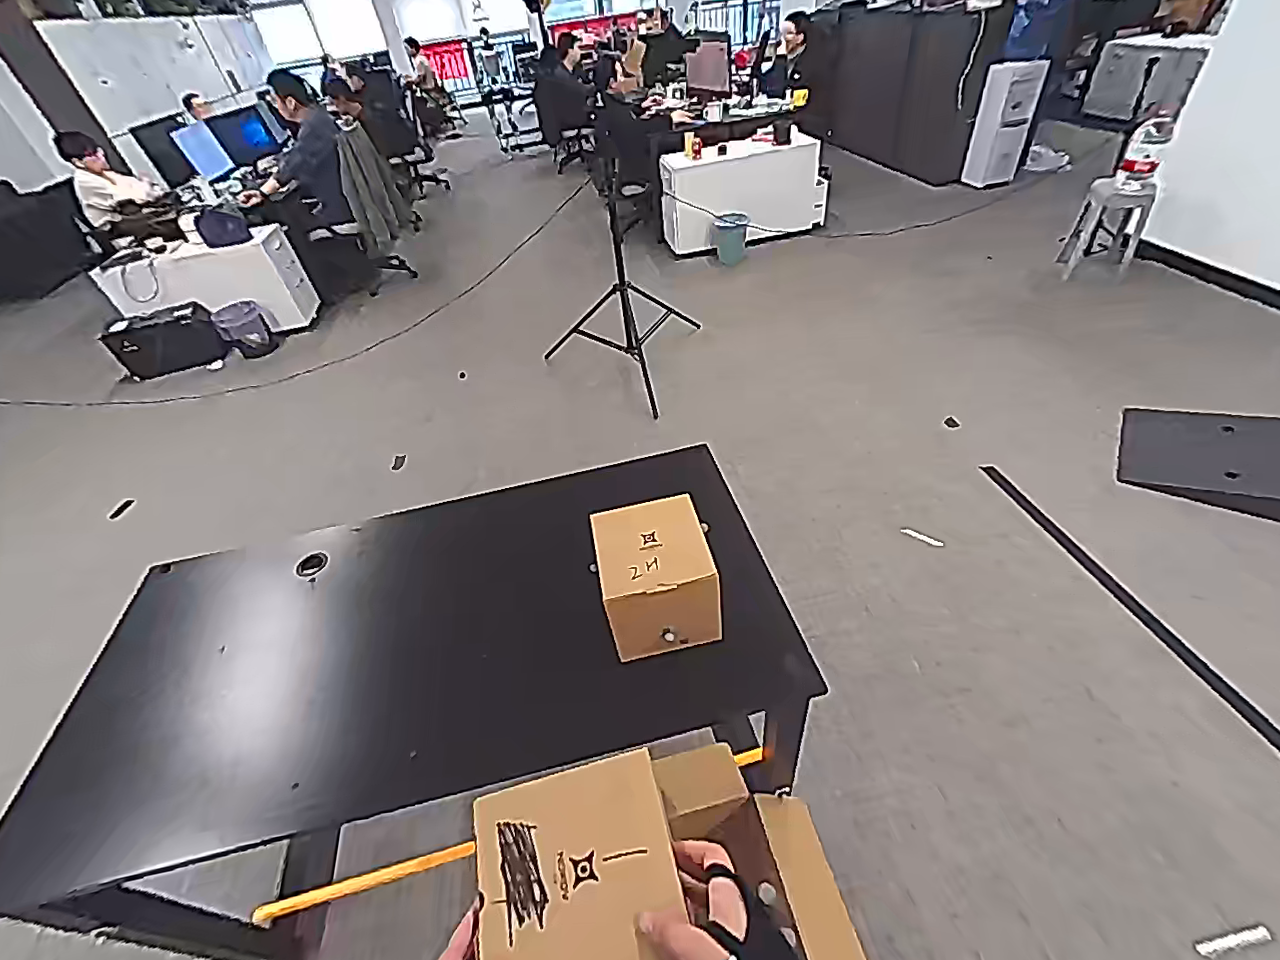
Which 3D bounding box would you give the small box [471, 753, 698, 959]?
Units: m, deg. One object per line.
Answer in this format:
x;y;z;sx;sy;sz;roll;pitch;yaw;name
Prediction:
-0.050;0.399;0.523;0.179;0.176;0.168;-14;45;-6;small box

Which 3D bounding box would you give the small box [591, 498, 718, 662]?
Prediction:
0.022;0.159;0.863;0.168;0.176;0.179;-12;42;-2;small box
